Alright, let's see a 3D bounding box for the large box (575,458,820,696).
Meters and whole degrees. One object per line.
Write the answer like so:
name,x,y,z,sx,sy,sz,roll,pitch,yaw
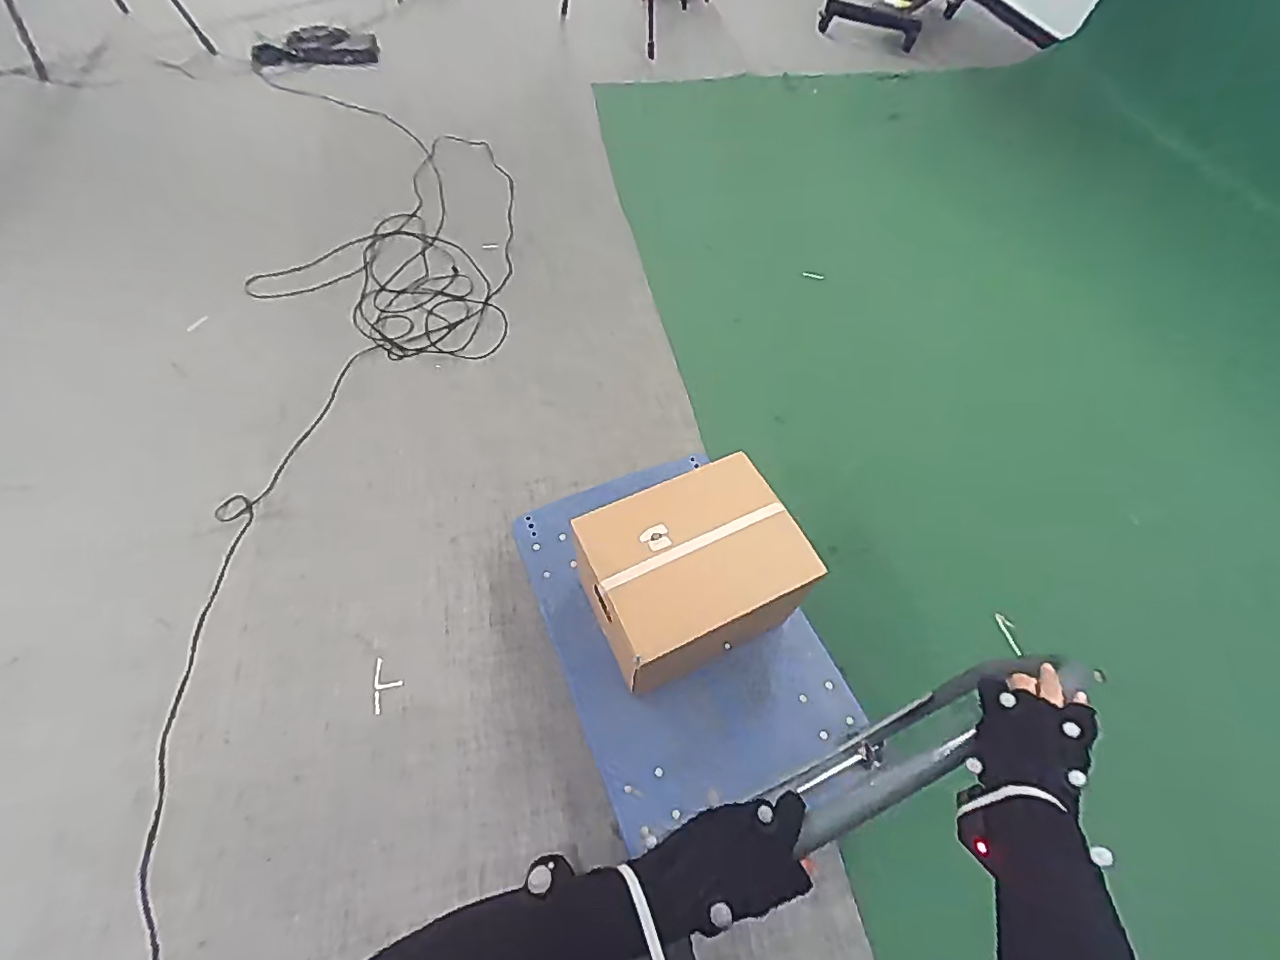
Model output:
large box,0.107,0.218,1.190,0.408,0.320,0.320,-23,61,-15
